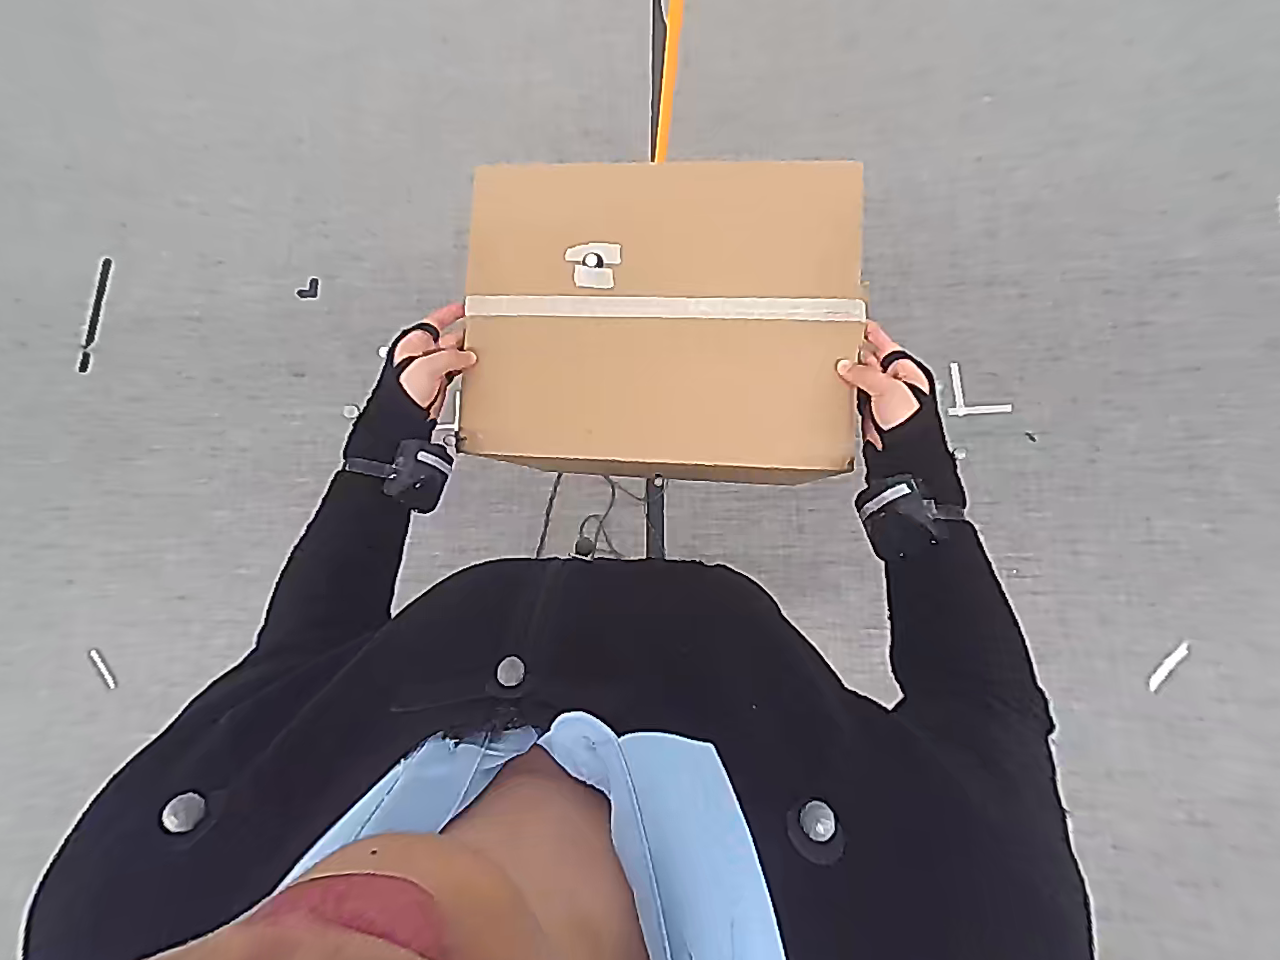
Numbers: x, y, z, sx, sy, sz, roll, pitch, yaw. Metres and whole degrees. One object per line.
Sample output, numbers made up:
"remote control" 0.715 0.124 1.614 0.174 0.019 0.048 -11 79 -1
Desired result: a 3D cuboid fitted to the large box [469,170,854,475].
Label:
"large box" 0.034 -0.168 0.716 0.408 0.320 0.320 3 87 6
